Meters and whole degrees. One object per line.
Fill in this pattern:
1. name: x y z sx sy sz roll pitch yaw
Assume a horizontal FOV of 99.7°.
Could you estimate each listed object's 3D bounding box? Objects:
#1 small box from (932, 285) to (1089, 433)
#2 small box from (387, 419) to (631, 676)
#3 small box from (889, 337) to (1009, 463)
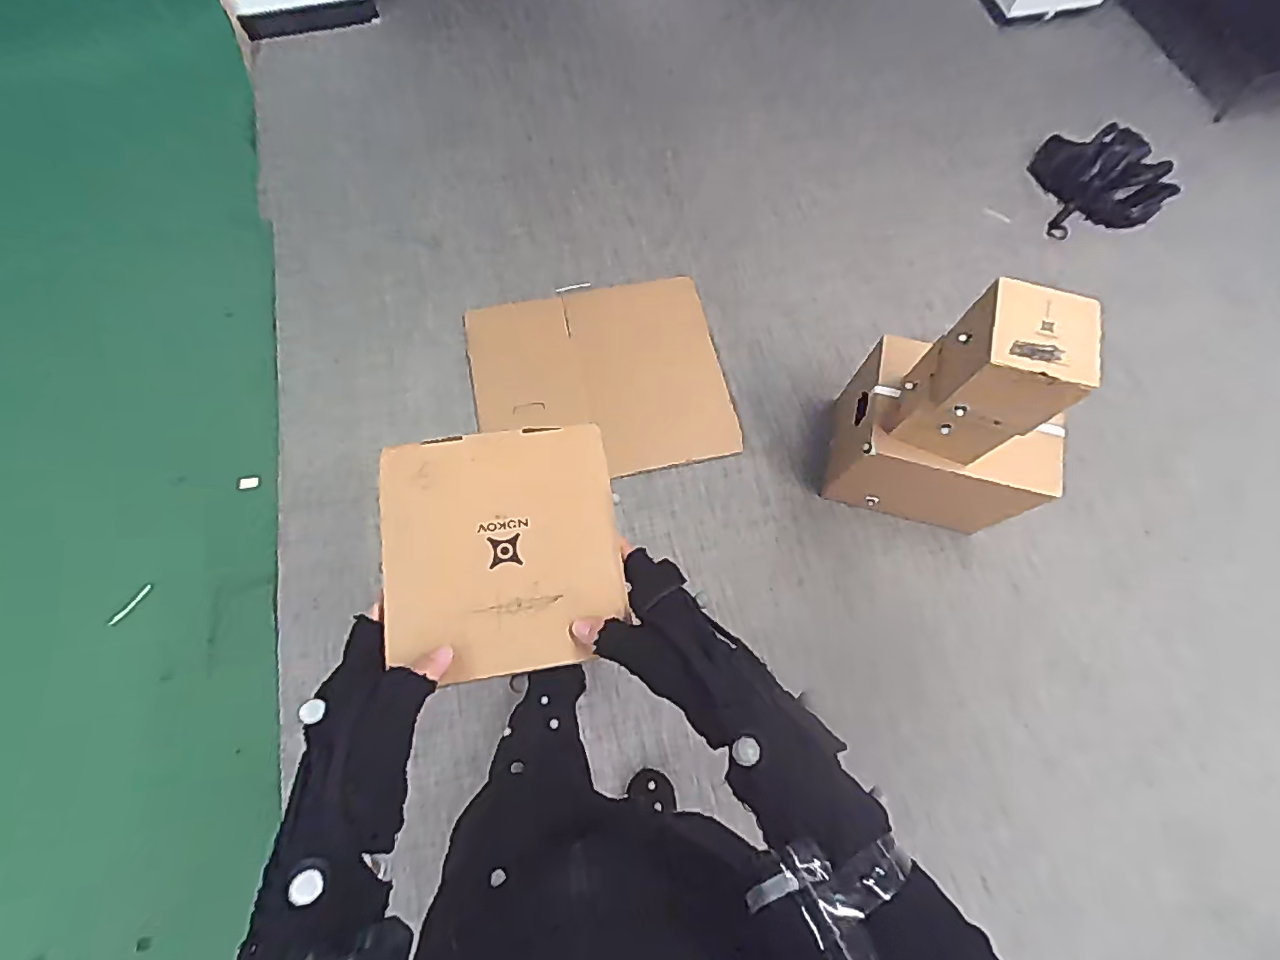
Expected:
1. small box: 0.632 -0.201 0.940 0.168 0.176 0.179 14 71 5
2. small box: -0.108 0.066 0.474 0.168 0.176 0.179 -8 74 -8
3. small box: 0.636 -0.154 1.101 0.179 0.176 0.168 19 69 6
